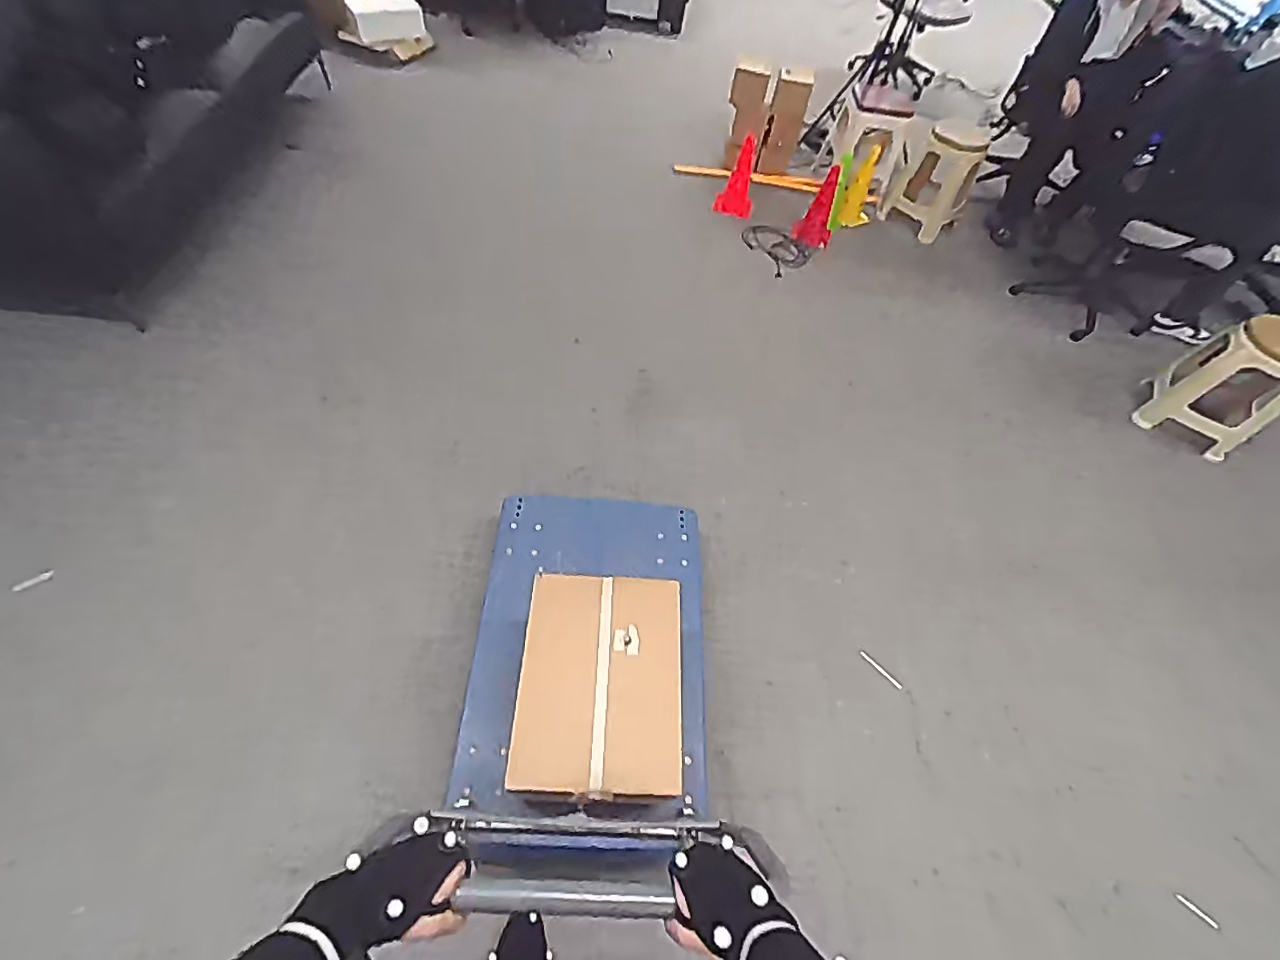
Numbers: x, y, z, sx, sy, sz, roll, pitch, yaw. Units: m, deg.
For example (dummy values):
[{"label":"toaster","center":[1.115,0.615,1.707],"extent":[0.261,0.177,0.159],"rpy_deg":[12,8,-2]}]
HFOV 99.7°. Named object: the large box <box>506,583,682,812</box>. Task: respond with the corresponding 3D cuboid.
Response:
[{"label":"large box","center":[-0.093,0.477,1.172],"extent":[0.320,0.320,0.408],"rpy_deg":[4,55,-5]}]
